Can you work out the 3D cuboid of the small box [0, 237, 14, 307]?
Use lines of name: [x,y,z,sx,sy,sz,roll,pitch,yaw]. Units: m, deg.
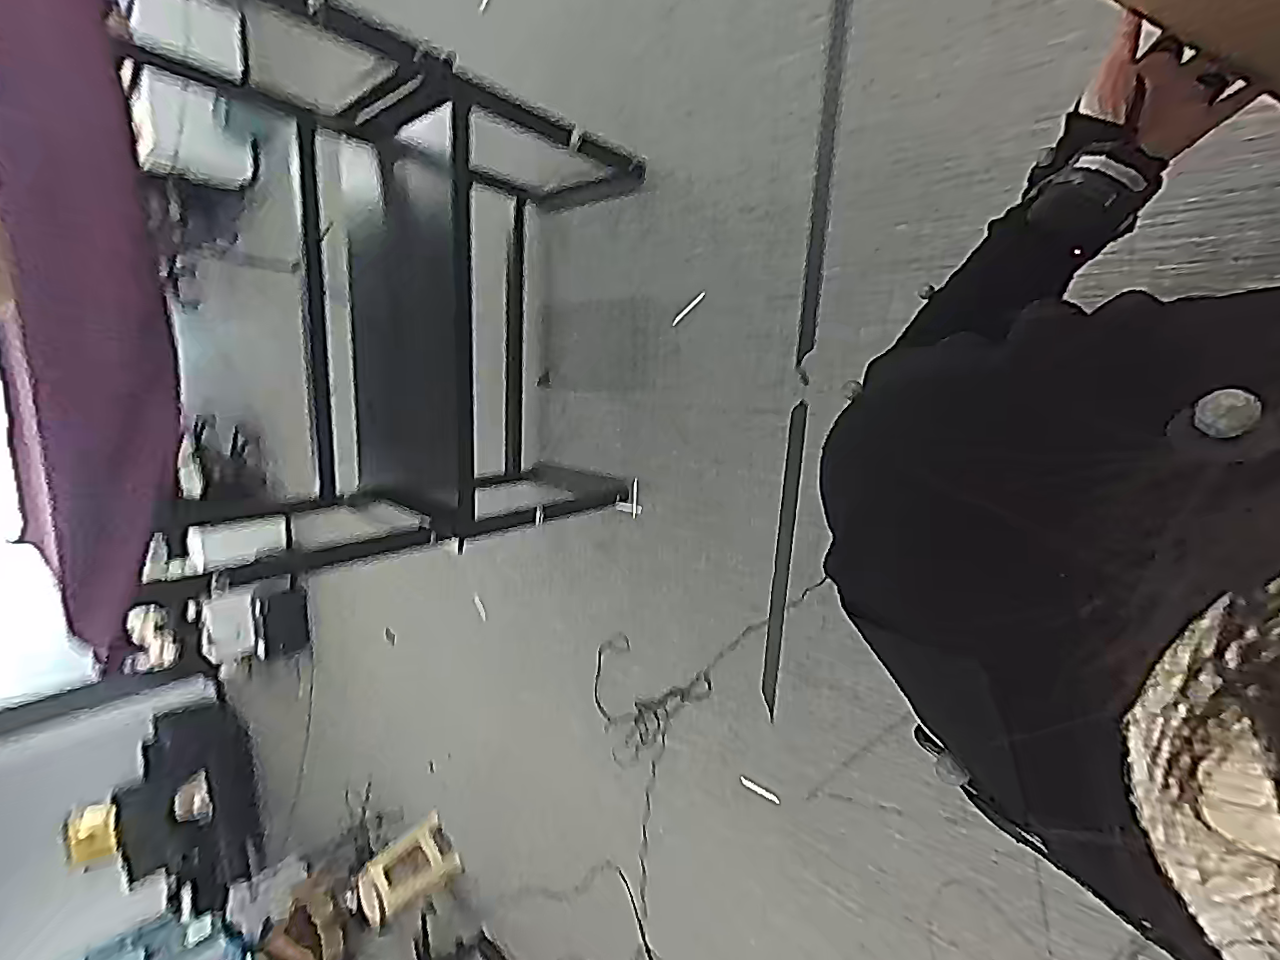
small box: [-1.139,-0.382,0.857,0.168,0.176,0.179,5,101,40]
